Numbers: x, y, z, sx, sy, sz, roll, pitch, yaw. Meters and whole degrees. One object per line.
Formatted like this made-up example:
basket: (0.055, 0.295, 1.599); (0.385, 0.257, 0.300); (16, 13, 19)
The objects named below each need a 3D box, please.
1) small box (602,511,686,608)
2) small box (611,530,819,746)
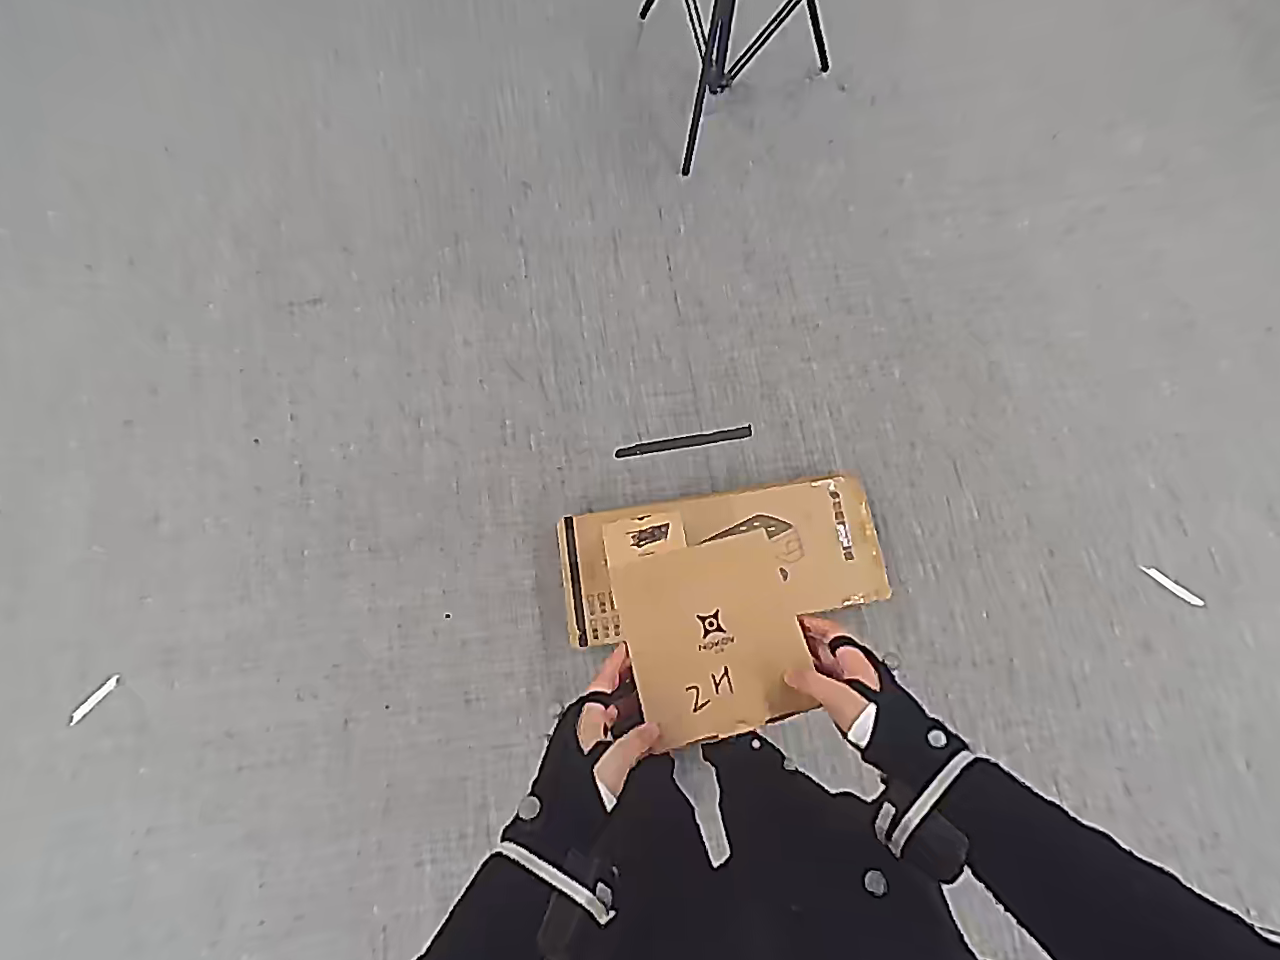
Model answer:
small box: (0.013, 0.176, 1.163); (0.168, 0.176, 0.179); (-9, 78, -3)
small box: (0.069, 0.176, 0.597); (0.168, 0.176, 0.179); (-14, 68, -3)
